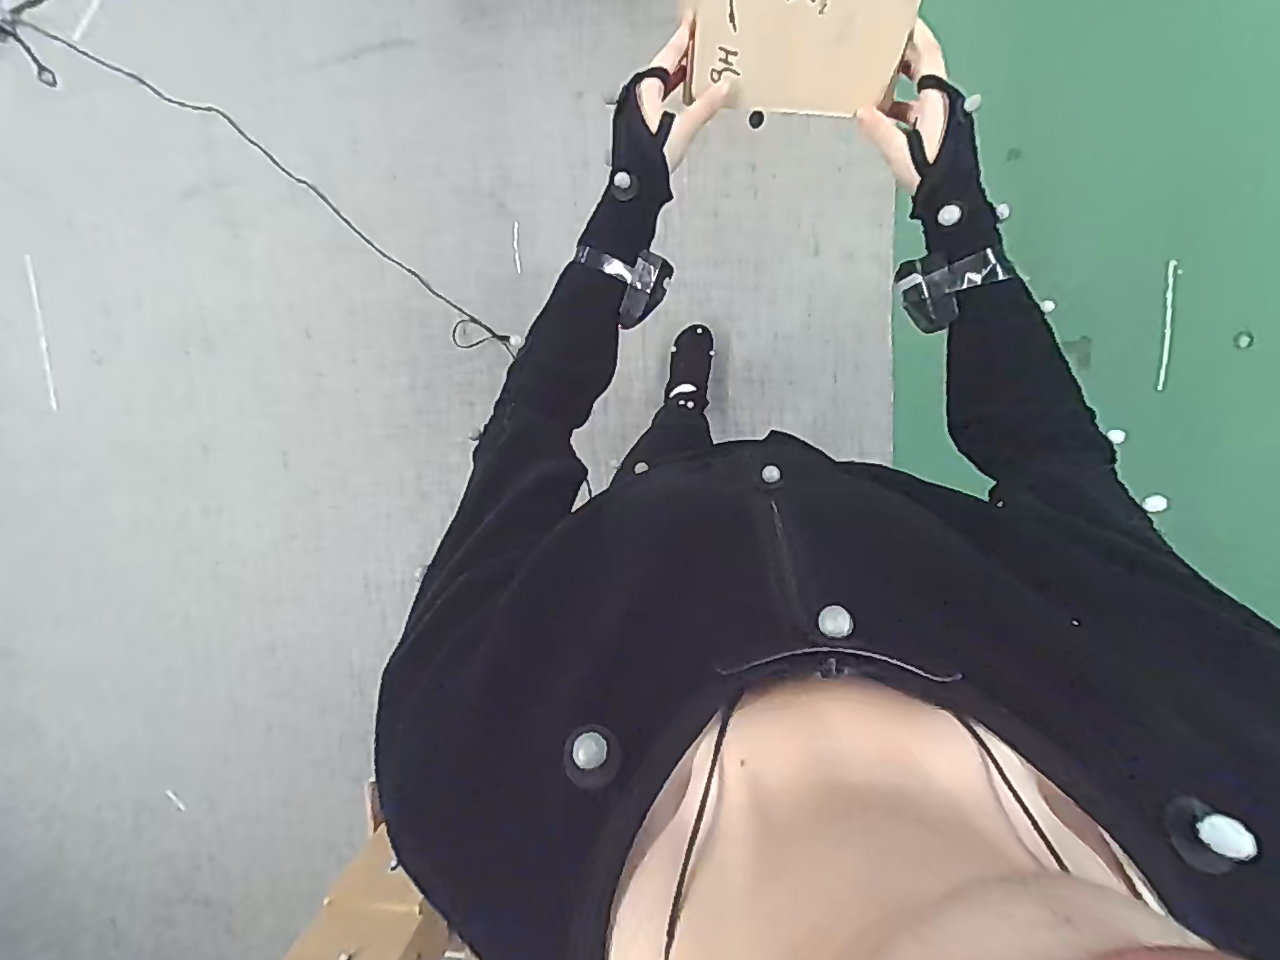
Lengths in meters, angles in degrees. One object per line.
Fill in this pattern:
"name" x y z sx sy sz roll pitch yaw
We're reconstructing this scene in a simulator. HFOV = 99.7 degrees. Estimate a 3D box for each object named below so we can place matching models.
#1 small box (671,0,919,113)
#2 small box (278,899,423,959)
"small box" 0.129 -0.431 0.473 0.179 0.176 0.168 2 126 -4
"small box" -0.459 0.793 0.830 0.179 0.176 0.168 4 97 5
